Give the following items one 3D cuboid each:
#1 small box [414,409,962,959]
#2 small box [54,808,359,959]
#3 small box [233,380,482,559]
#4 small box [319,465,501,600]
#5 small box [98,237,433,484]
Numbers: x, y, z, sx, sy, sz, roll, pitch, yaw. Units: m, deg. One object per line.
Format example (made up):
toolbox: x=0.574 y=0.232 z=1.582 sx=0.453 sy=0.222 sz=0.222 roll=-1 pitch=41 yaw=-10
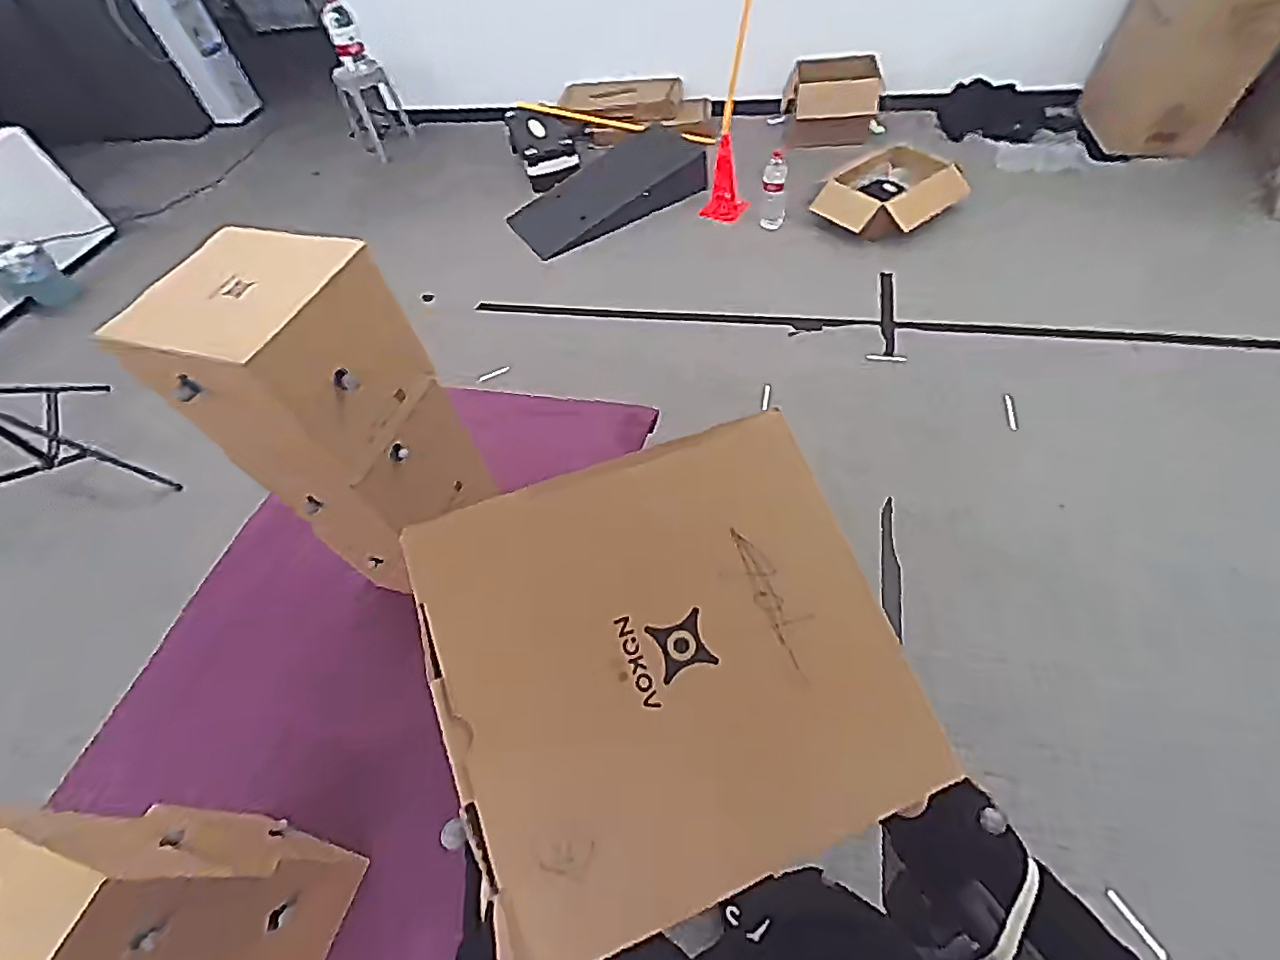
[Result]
small box: x=0.010 y=0.092 z=0.288 sx=0.179 sy=0.176 sz=0.168 roll=-19 pitch=74 yaw=-11
small box: x=-0.422 y=0.459 z=0.545 sx=0.168 sy=0.176 sz=0.179 roll=9 pitch=57 yaw=15
small box: x=-0.332 y=-0.020 z=0.673 sx=0.179 sy=0.176 sz=0.168 roll=11 pitch=57 yaw=16
small box: x=-0.318 y=0.075 z=0.806 sx=0.179 sy=0.176 sz=0.168 roll=10 pitch=57 yaw=14
small box: x=-0.344 y=-0.114 z=0.540 sx=0.179 sy=0.176 sz=0.168 roll=11 pitch=58 yaw=16
